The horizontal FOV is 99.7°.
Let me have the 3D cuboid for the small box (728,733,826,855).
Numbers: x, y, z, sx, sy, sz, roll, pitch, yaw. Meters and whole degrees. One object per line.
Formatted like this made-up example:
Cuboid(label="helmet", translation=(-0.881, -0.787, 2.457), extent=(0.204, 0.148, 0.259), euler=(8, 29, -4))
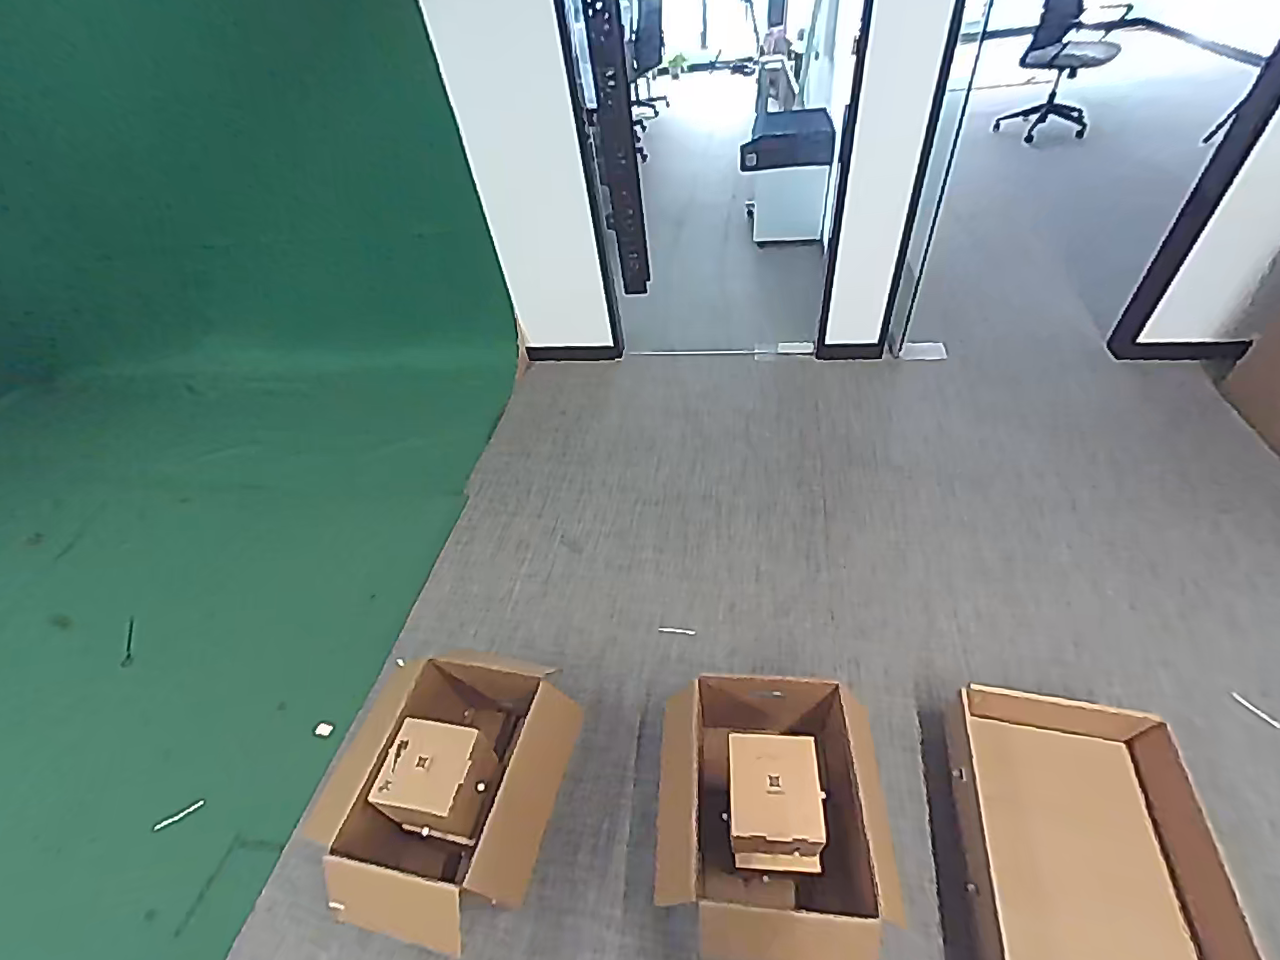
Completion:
Cuboid(label="small box", translation=(0.260, 0.618, 1.060), extent=(0.168, 0.176, 0.179), euler=(0, 48, 8))
